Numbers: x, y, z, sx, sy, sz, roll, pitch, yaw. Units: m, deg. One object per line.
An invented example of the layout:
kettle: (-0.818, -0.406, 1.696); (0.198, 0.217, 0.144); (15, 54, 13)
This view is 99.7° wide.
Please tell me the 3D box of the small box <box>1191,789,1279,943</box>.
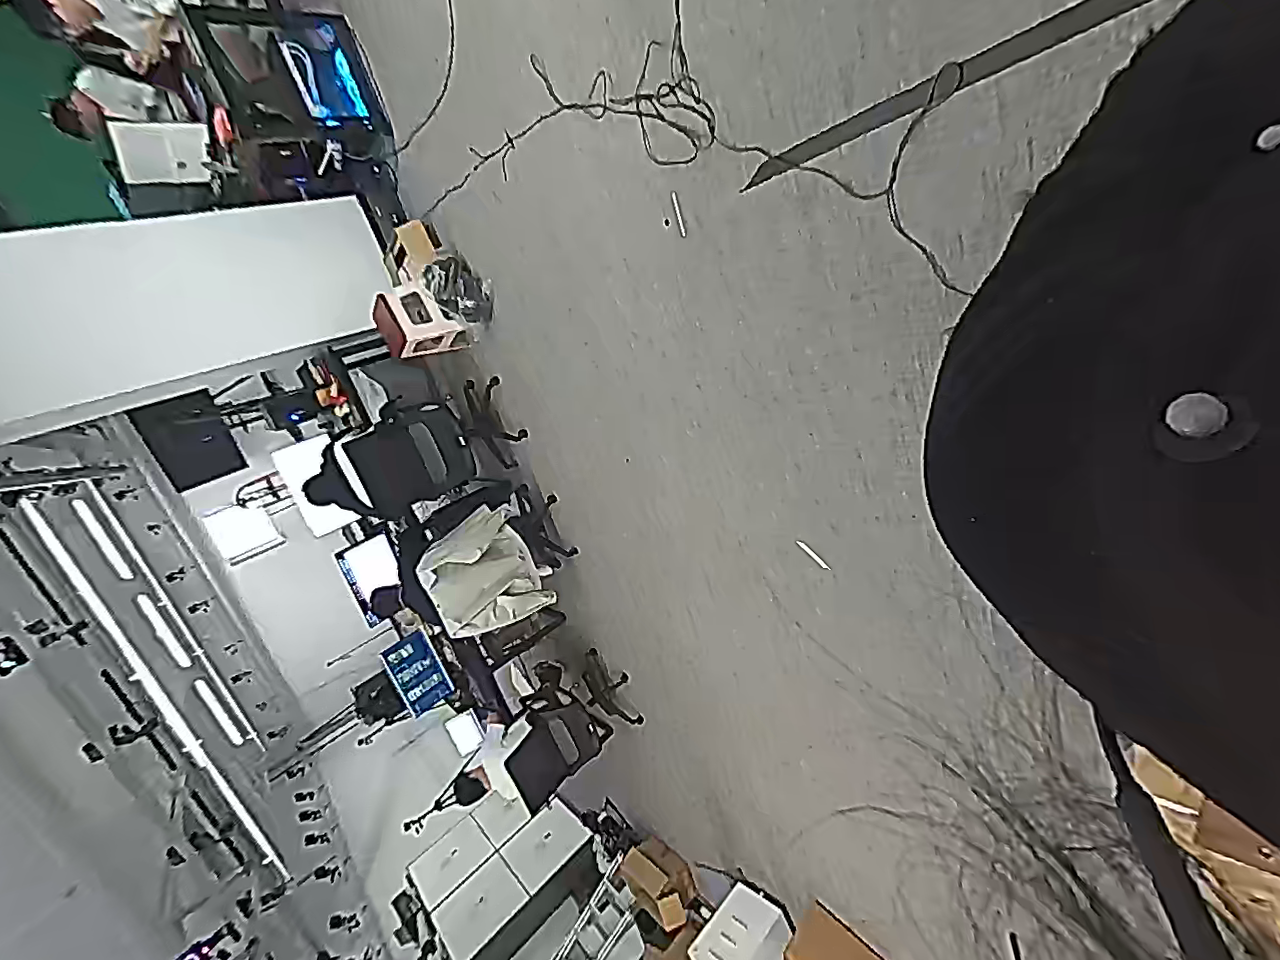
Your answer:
small box: (1.186, 0.736, 1.029); (0.179, 0.176, 0.168); (2, 114, 52)
